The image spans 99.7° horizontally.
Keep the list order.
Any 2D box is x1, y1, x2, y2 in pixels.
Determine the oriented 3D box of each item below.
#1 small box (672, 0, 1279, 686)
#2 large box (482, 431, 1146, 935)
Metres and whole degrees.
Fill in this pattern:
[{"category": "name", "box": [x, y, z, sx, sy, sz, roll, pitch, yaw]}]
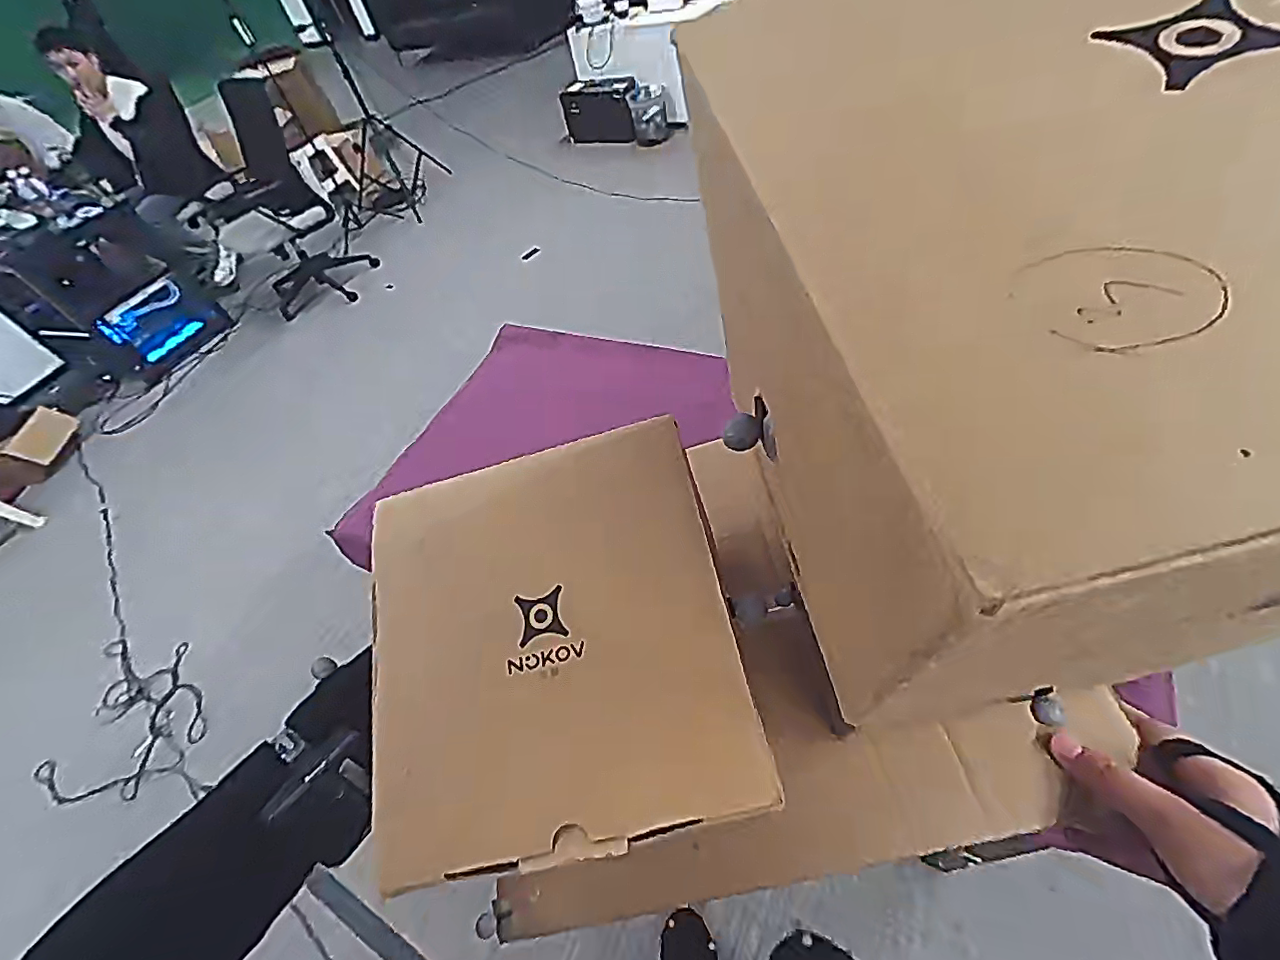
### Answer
[{"category": "small box", "box": [0.123, -0.048, 0.163, 0.179, 0.176, 0.168, -16, 59, 7]}, {"category": "large box", "box": [0.110, 0.173, 0.528, 0.408, 0.320, 0.320, -18, 56, 6]}]
